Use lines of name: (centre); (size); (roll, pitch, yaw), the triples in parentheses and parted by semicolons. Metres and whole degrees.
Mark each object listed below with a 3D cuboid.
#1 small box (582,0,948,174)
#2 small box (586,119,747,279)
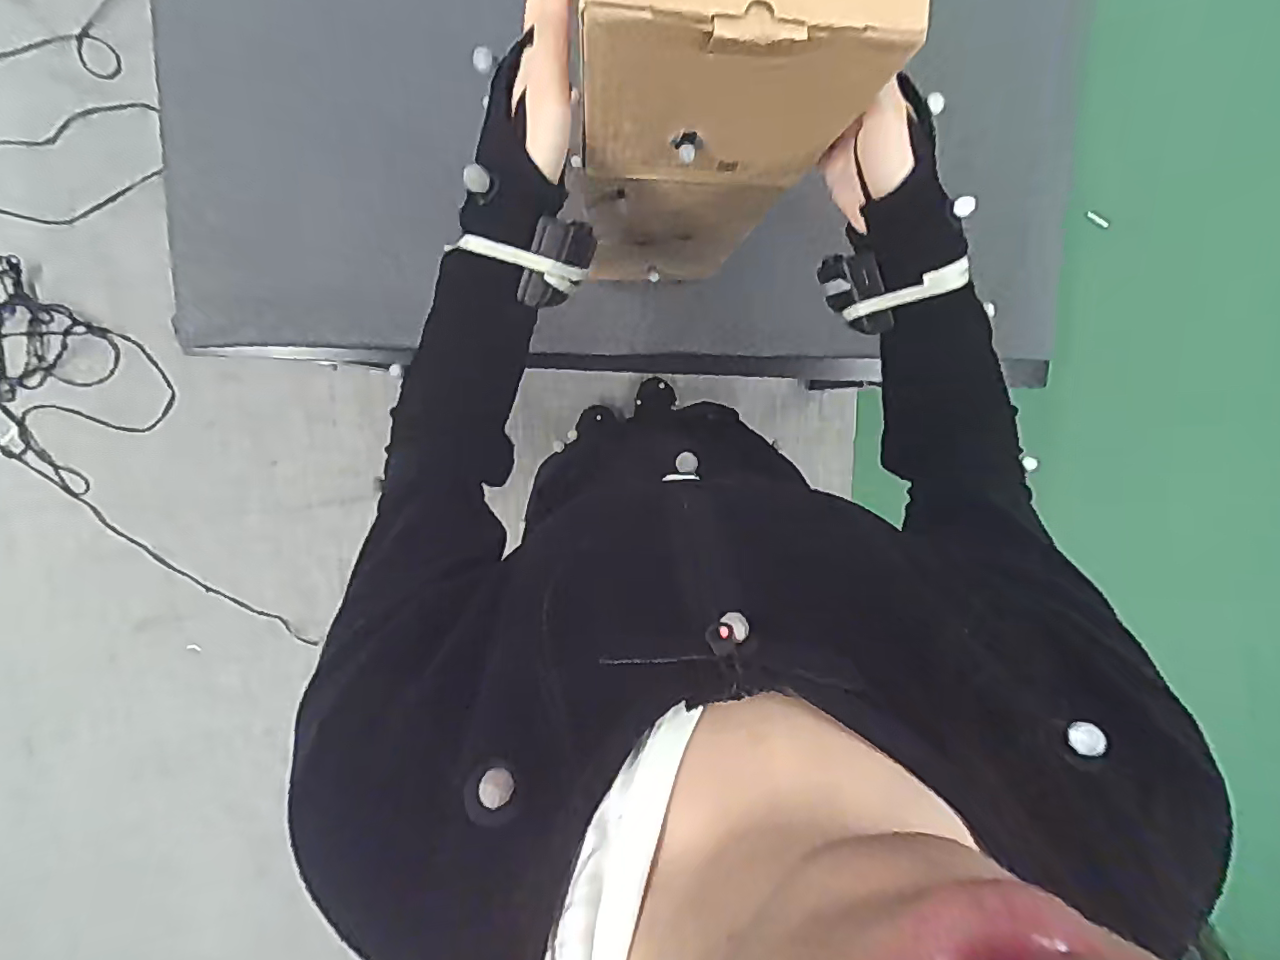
small box: (0.051, -0.307, 0.308); (0.168, 0.176, 0.179); (-1, 97, -6)
small box: (0.022, -0.347, 0.631); (0.168, 0.176, 0.179); (-2, 97, -5)
